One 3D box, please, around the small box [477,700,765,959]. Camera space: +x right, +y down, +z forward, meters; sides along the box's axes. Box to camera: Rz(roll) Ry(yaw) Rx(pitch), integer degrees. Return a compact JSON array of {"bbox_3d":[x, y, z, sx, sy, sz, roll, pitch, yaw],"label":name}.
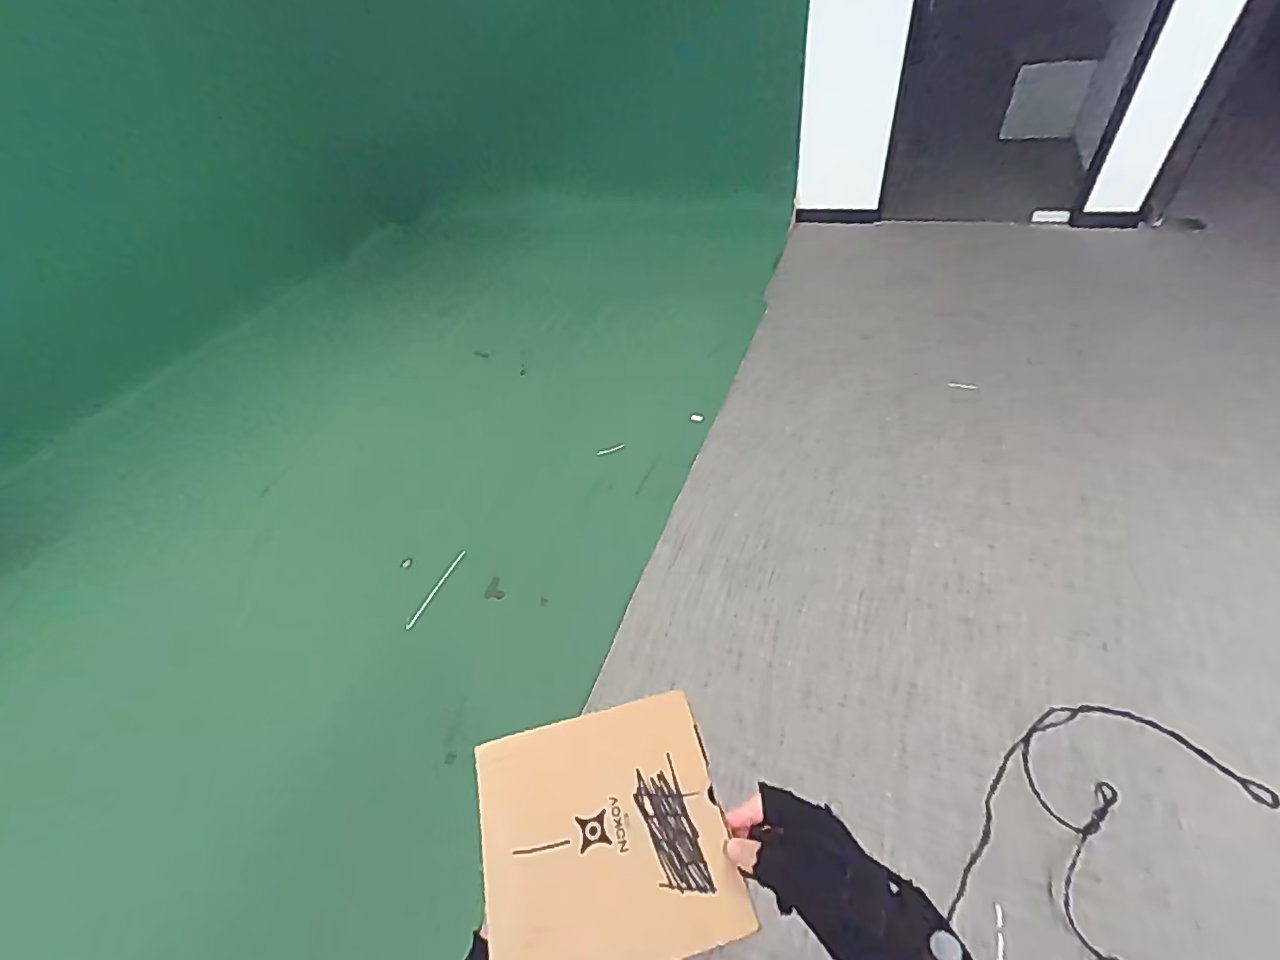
[{"bbox_3d":[-0.022,0.307,0.440,0.179,0.176,0.168,-12,50,-9],"label":"small box"}]
